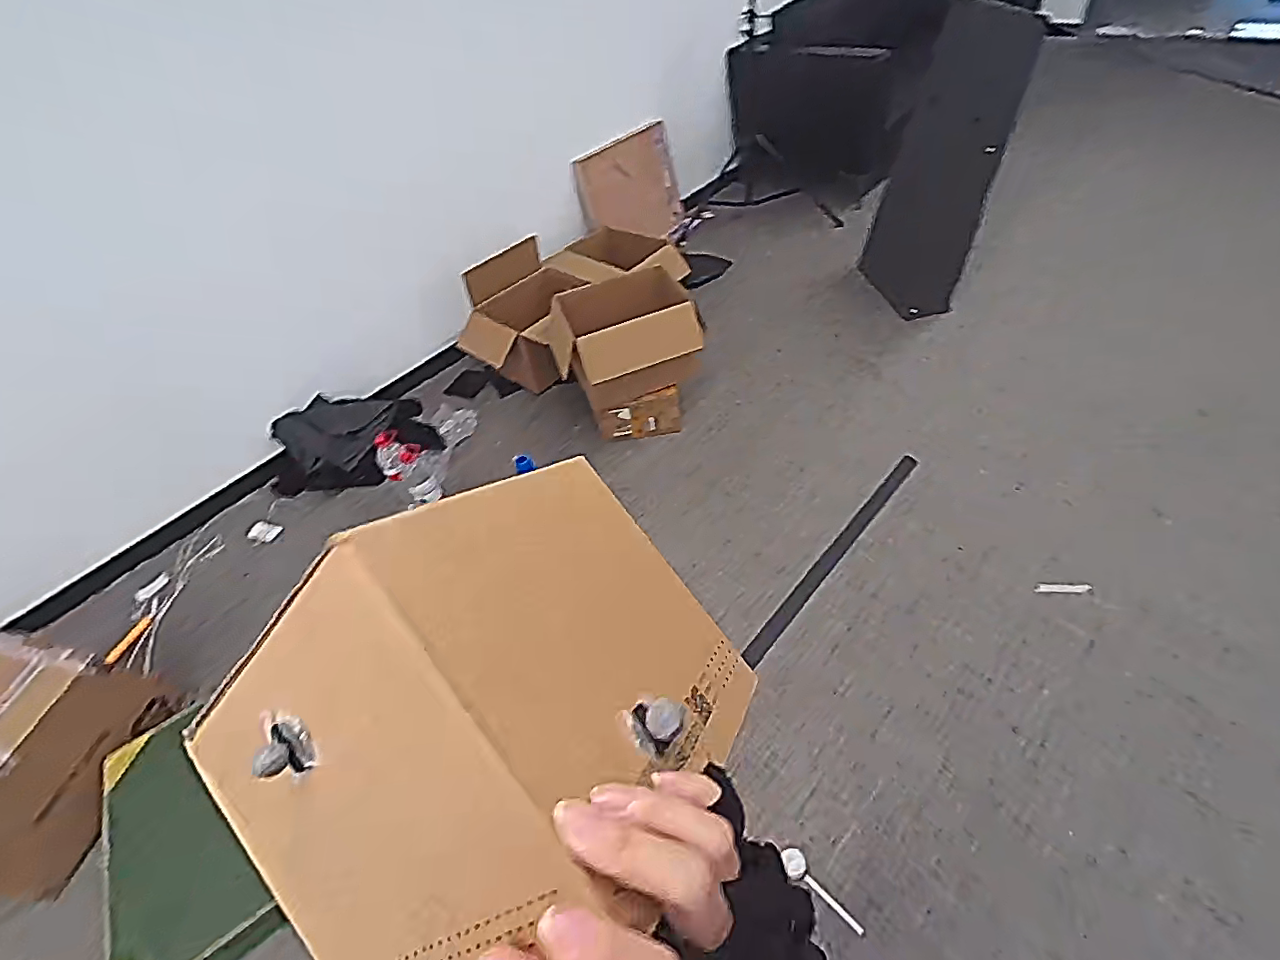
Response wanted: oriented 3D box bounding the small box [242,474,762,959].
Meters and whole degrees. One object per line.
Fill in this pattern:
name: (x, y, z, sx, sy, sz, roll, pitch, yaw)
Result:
small box: (-0.066, 0.127, 0.297, 0.176, 0.179, 0.168, 51, 28, 7)
